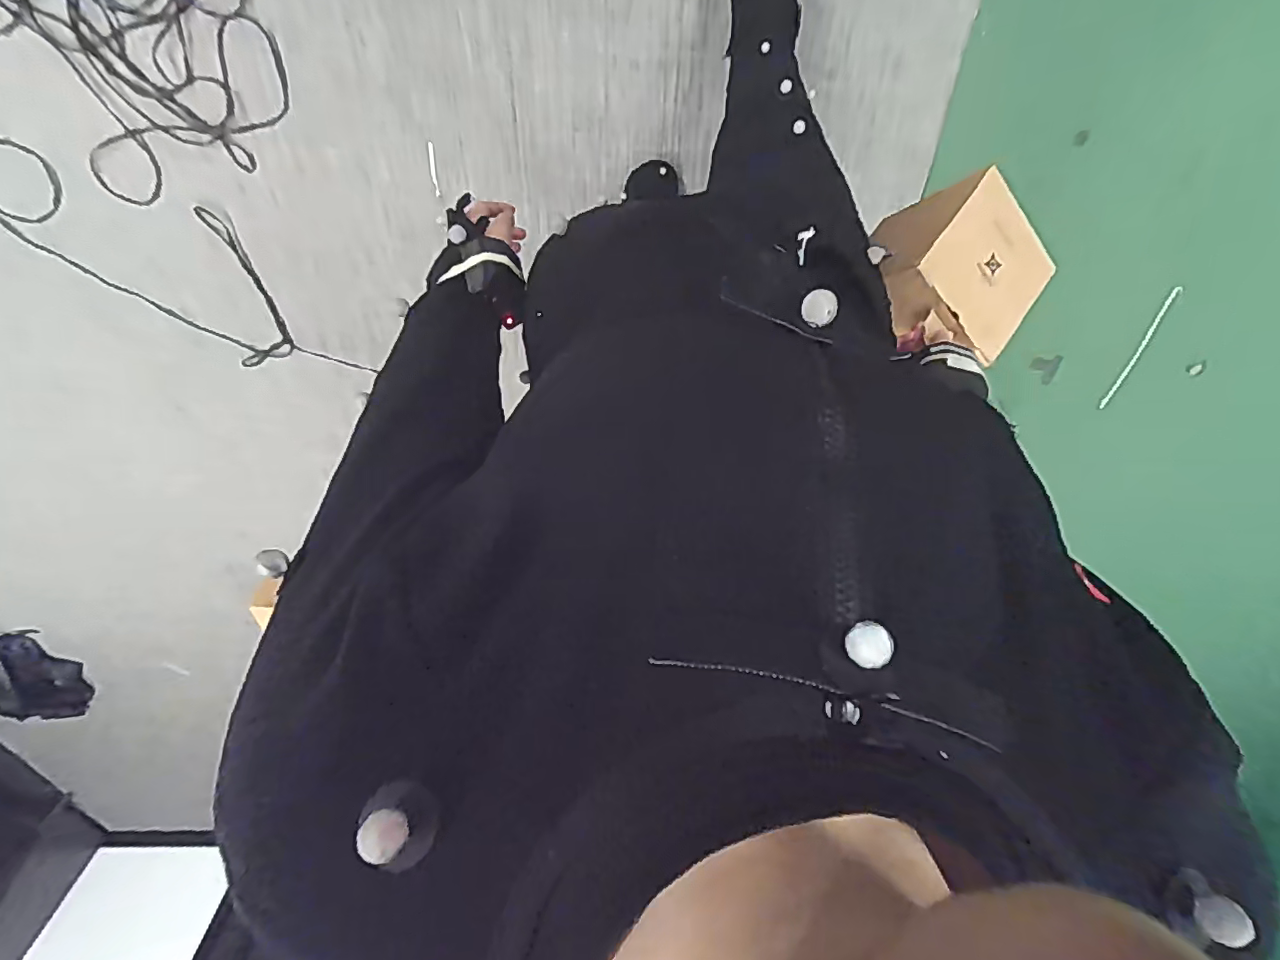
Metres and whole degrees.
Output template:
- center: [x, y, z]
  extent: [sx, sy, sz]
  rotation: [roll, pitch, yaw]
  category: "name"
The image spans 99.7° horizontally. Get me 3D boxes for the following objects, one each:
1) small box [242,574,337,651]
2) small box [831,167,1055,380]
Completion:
- center: [-1.098, 0.419, 1.714]
  extent: [0.168, 0.176, 0.179]
  rotation: [0, 125, 0]
  category: "small box"
- center: [0.384, -0.252, 0.711]
  extent: [0.168, 0.176, 0.179]
  rotation: [43, 76, -19]
  category: "small box"
